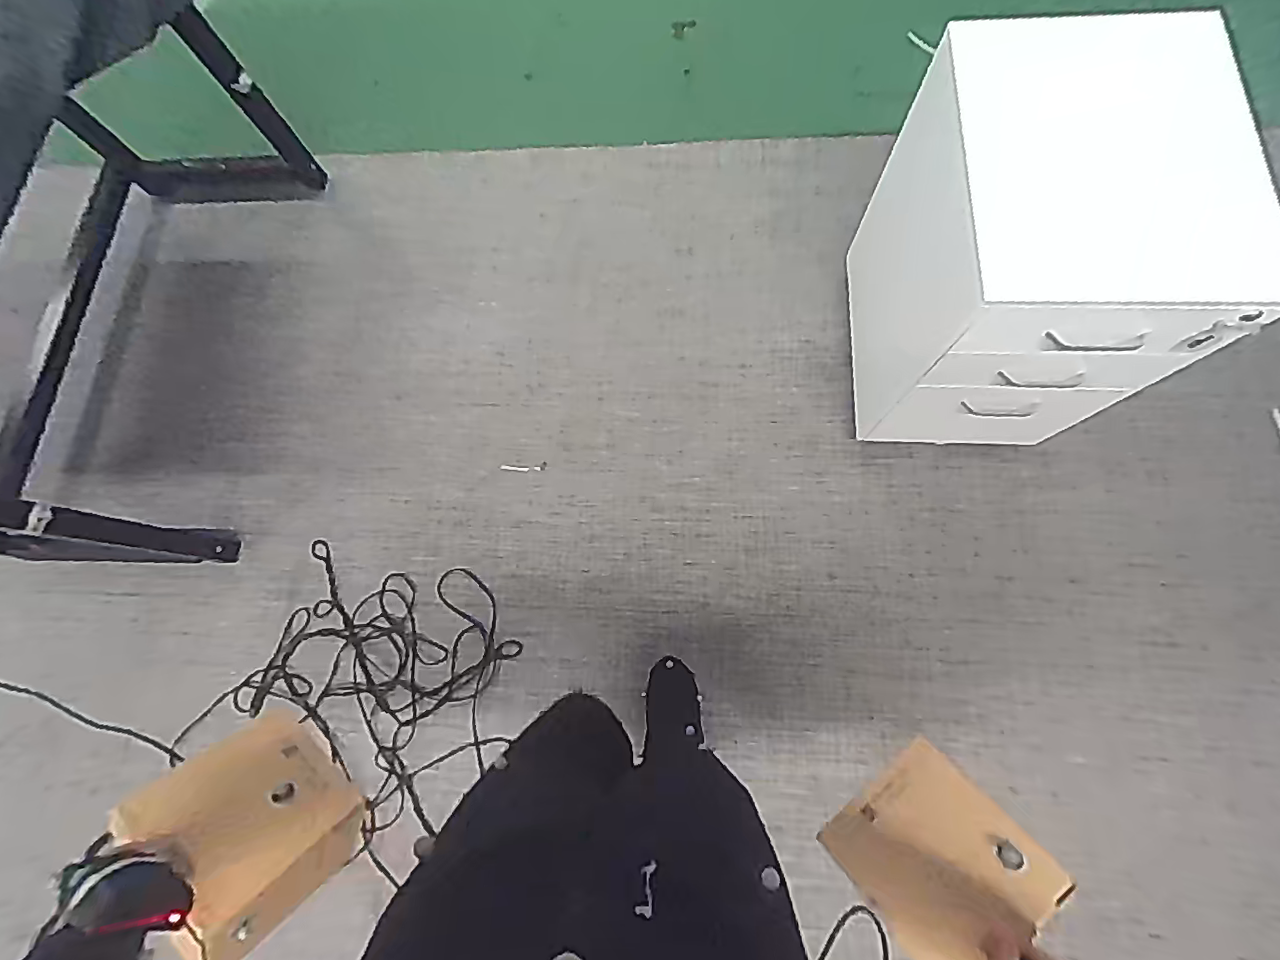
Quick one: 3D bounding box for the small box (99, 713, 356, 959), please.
[{"bbox_3d":[-0.451,0.411,0.613,0.168,0.176,0.179,35,123,14],"label":"small box"}]
